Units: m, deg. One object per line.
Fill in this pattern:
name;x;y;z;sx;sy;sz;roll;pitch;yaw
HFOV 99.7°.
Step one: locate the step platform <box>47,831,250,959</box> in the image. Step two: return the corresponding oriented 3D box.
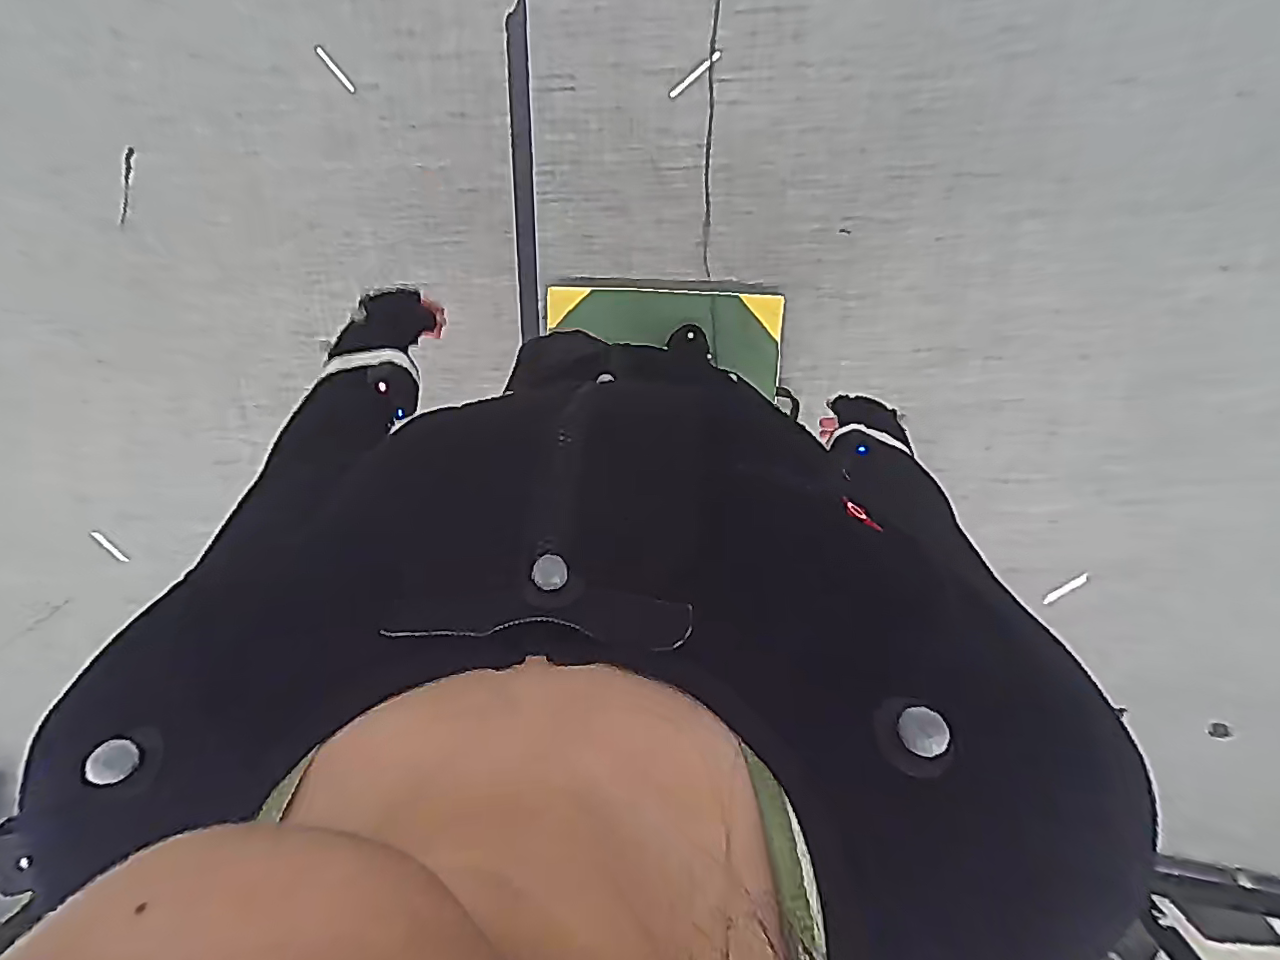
step platform;-1.869;1.609;2.057;0.684;0.204;0.286;-27;103;11
